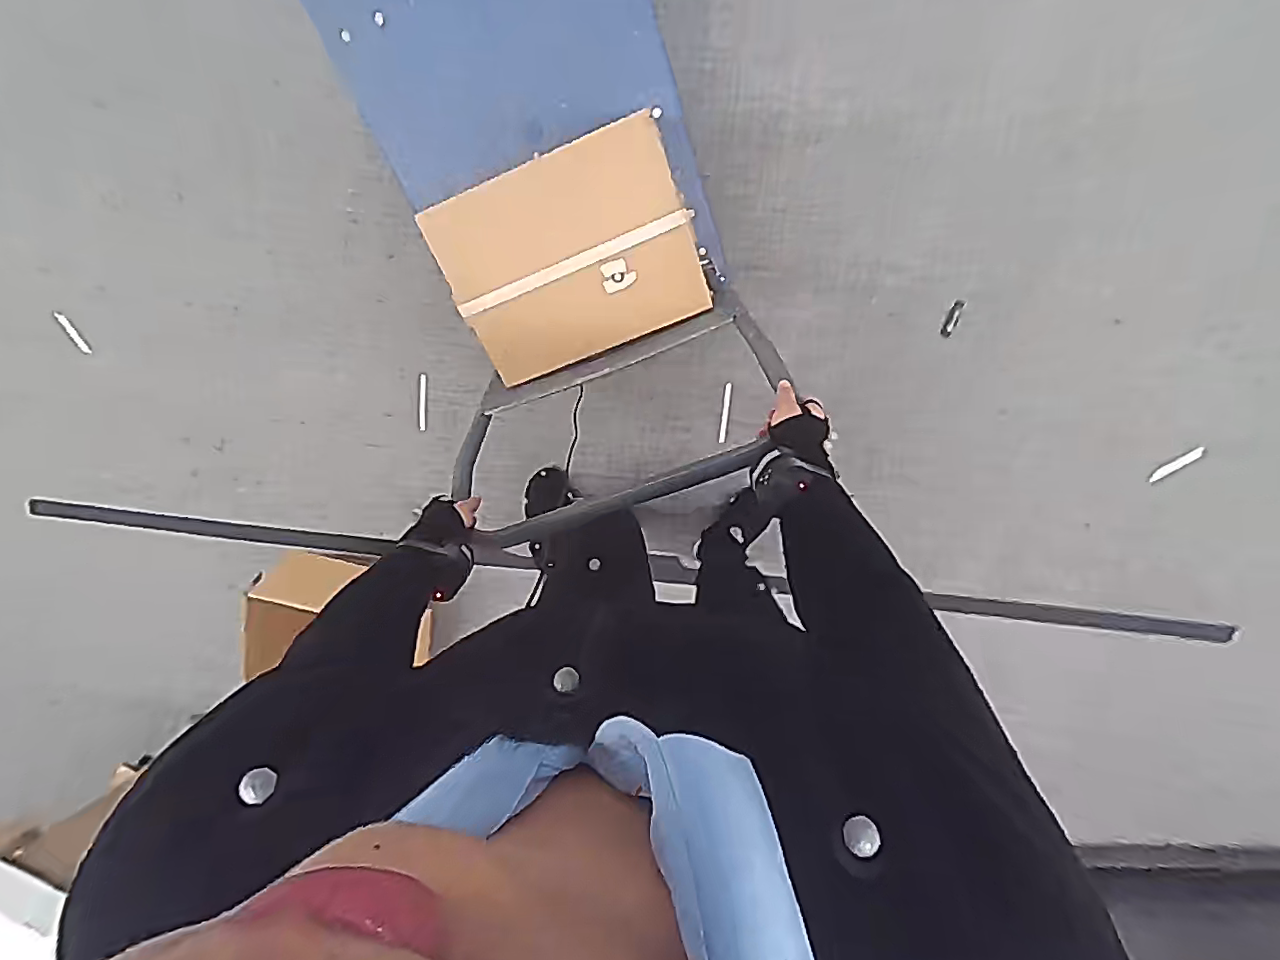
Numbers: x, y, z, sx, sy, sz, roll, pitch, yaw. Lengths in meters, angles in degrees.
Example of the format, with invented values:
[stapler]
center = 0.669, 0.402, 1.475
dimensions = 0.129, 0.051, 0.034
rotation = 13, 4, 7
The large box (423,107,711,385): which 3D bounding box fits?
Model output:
[large box]
center = -0.121, -0.438, 1.035
dimensions = 0.408, 0.320, 0.320
rotation = -21, 120, 8
